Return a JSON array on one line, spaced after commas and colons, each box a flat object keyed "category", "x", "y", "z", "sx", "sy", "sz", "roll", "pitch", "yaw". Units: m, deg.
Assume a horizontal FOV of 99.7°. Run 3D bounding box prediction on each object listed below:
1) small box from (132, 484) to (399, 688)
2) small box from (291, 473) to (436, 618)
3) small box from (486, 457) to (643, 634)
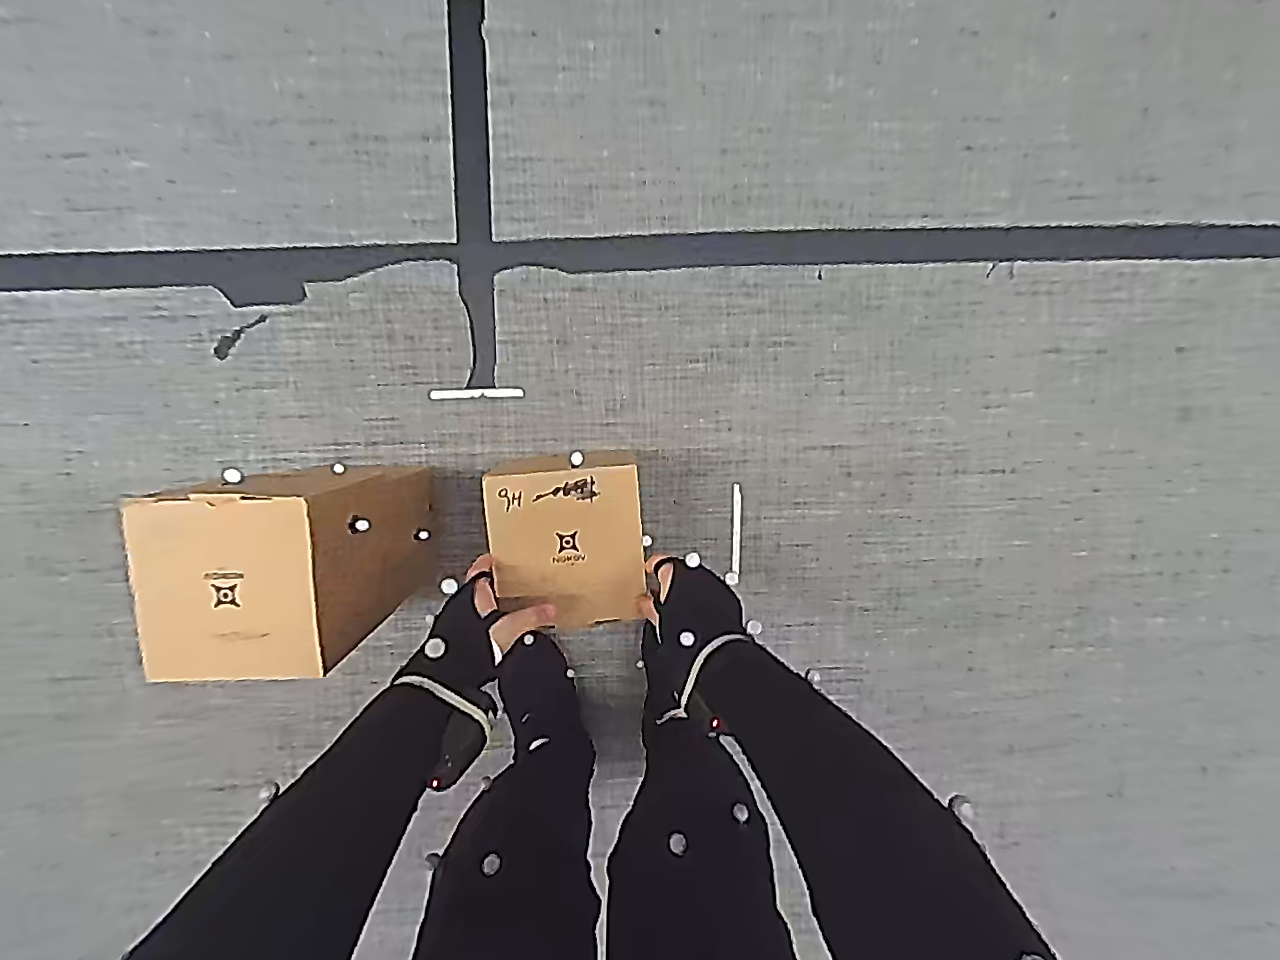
[{"category": "small box", "x": -0.377, "y": 0.099, "z": 0.579, "sx": 0.168, "sy": 0.176, "sz": 0.179, "roll": -1, "pitch": 99, "yaw": -1}, {"category": "small box", "x": -0.390, "y": 0.081, "z": 0.740, "sx": 0.179, "sy": 0.176, "sz": 0.168, "roll": 0, "pitch": 98, "yaw": -2}, {"category": "small box", "x": -0.083, "y": 0.072, "z": 0.676, "sx": 0.168, "sy": 0.176, "sz": 0.179, "roll": -4, "pitch": 99, "yaw": -2}]
